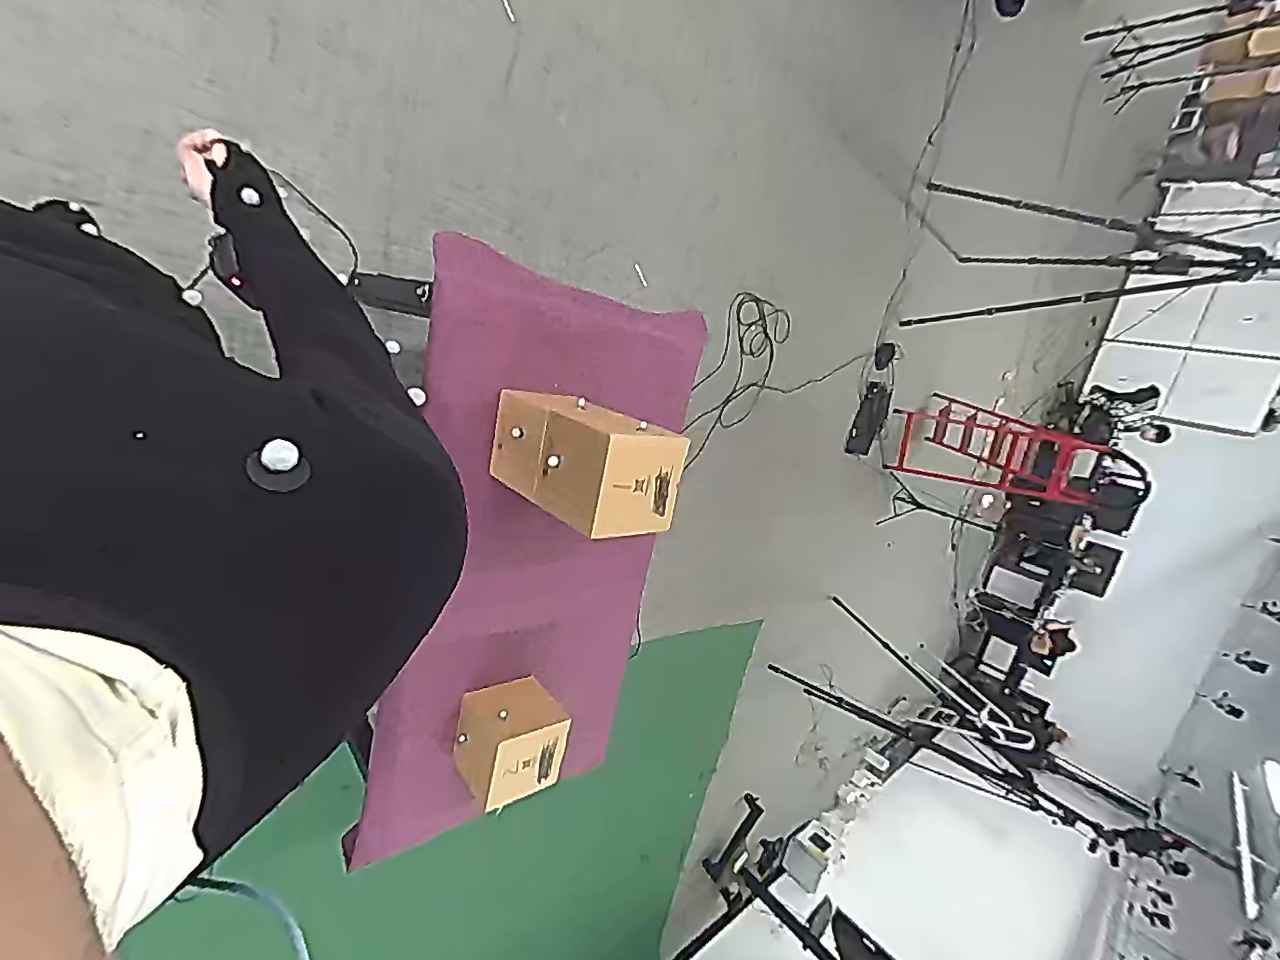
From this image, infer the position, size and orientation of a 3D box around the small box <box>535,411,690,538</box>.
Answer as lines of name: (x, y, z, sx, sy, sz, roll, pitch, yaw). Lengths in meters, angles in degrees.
small box: (-0.050, -0.015, 0.905, 0.179, 0.176, 0.168, 0, 108, -43)

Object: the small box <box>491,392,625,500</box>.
small box: (-0.159, -0.066, 1.017, 0.179, 0.176, 0.168, -1, 109, -44)
